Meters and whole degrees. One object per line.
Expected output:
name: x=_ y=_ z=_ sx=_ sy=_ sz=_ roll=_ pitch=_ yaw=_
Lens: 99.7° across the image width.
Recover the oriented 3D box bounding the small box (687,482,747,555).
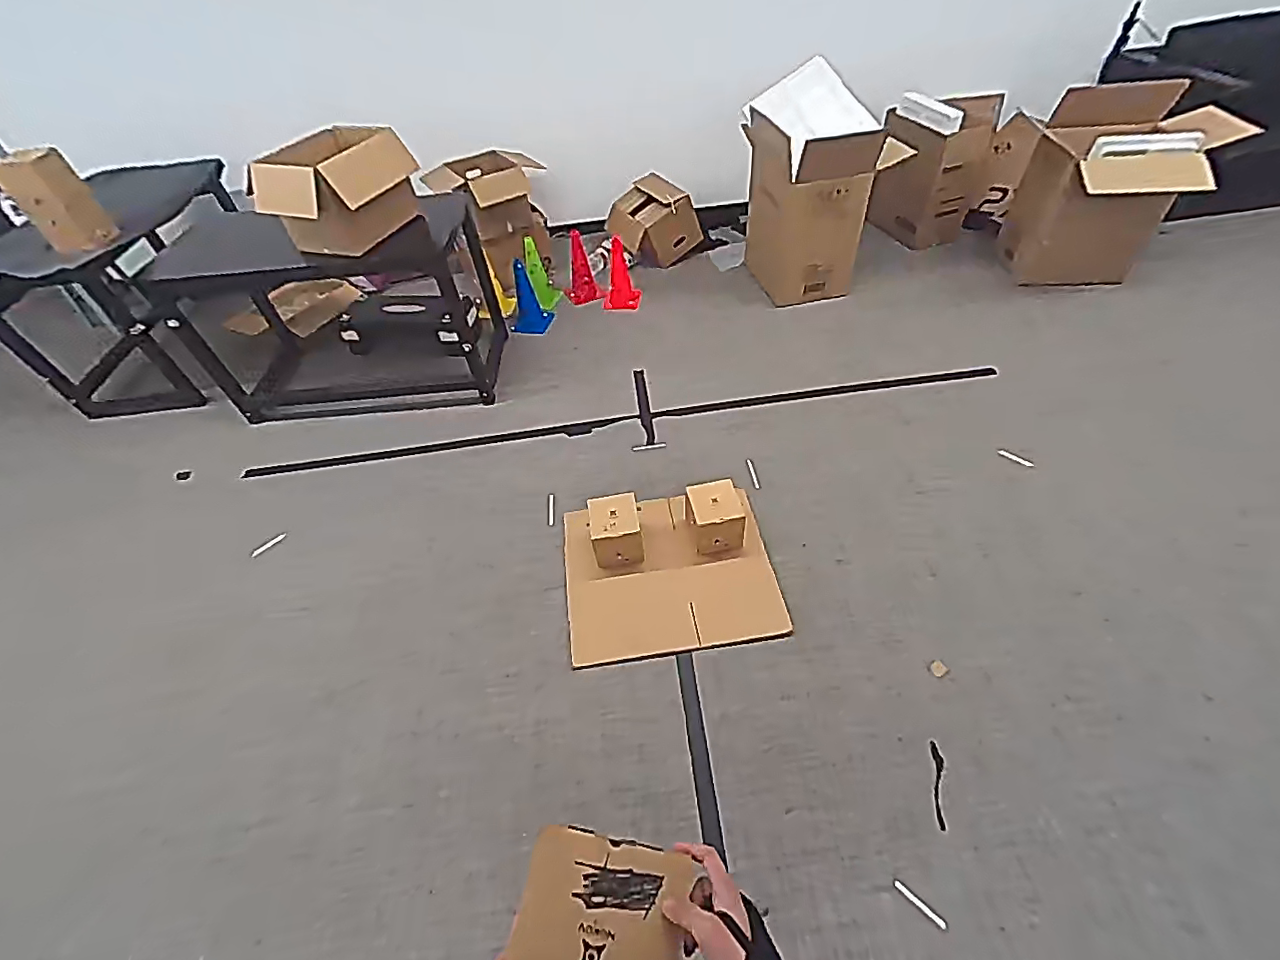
small box: x=0.262 y=0.135 z=1.891 sx=0.168 sy=0.176 sz=0.179 roll=-11 pitch=49 yaw=-5

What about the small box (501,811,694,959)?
small box: x=-0.042 y=0.482 z=0.572 sx=0.168 sy=0.176 sz=0.179 roll=8 pitch=50 yaw=8

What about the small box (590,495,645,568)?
small box: x=-0.078 y=0.180 z=1.876 sx=0.168 sy=0.176 sz=0.179 roll=-9 pitch=49 yaw=-2
